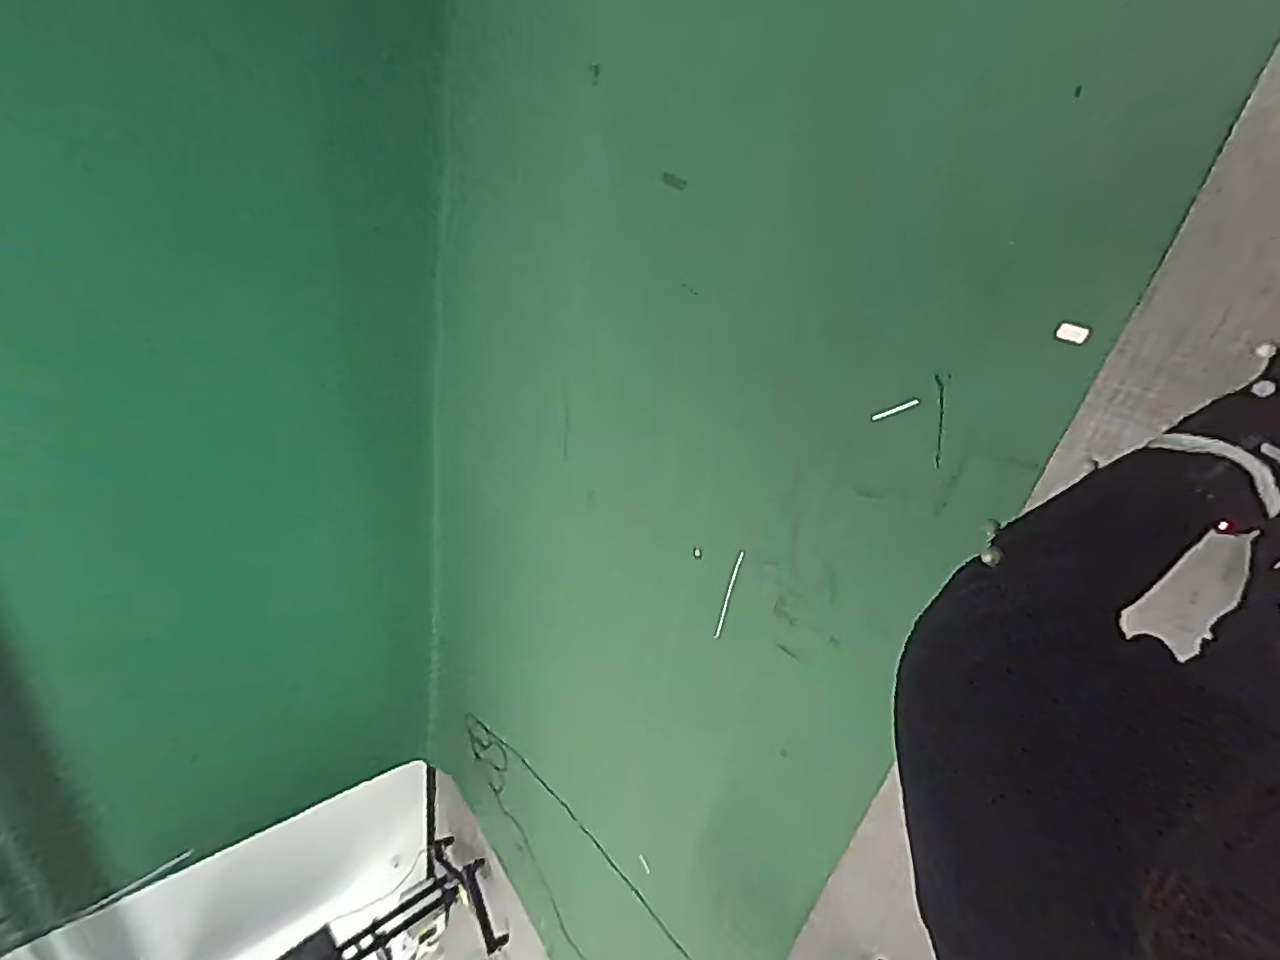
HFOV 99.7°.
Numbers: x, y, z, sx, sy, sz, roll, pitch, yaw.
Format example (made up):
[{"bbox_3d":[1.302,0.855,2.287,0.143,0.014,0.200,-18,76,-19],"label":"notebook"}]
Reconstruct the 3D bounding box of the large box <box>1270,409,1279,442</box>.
[{"bbox_3d":[1.080,-0.195,0.642,0.320,0.320,0.408,32,121,41],"label":"large box"}]
